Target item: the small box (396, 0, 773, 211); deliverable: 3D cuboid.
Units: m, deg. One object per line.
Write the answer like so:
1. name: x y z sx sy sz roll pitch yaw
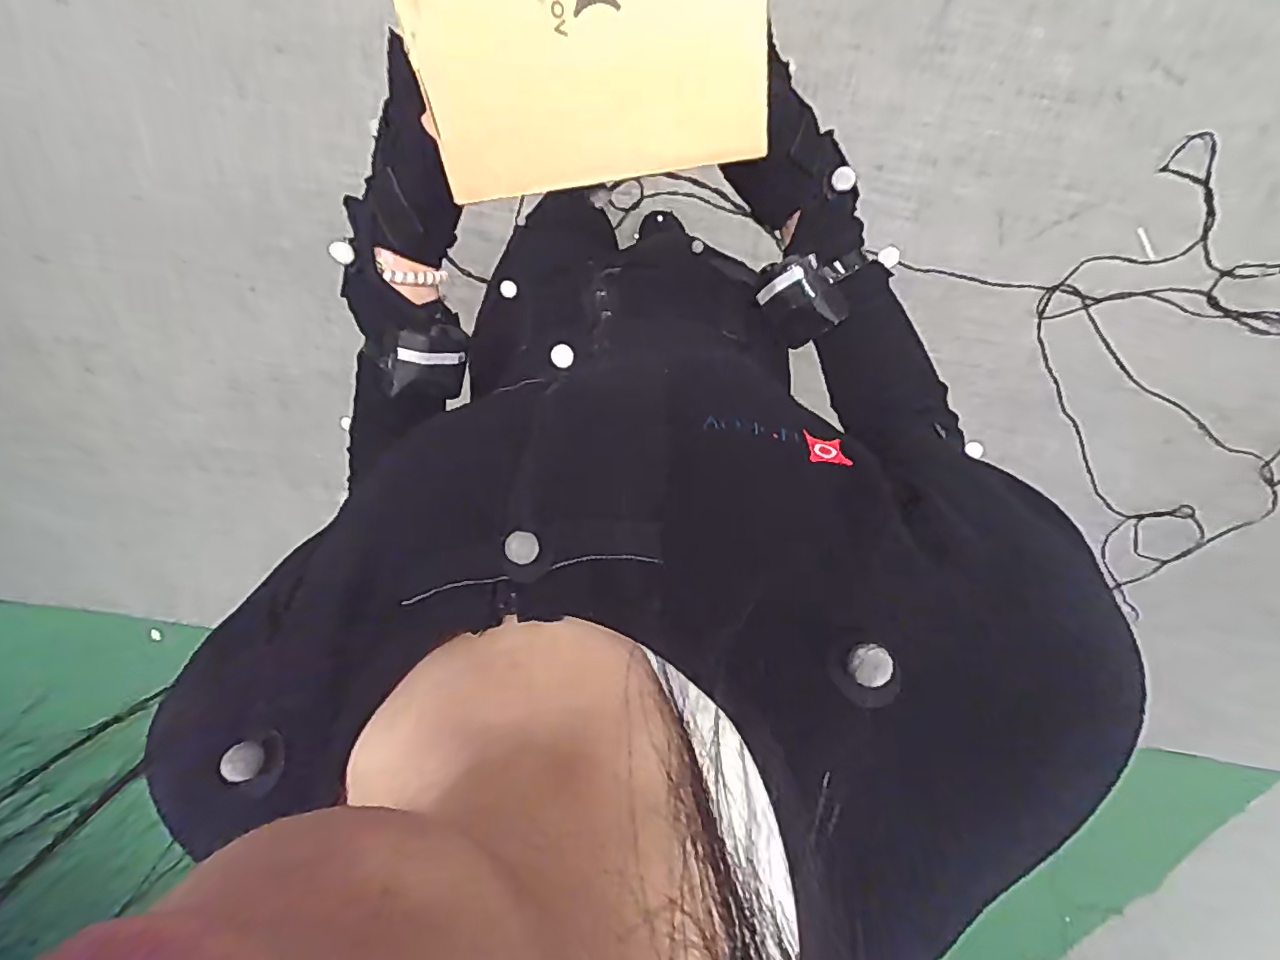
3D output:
1. small box: -0.032 -0.271 0.314 0.179 0.176 0.168 -9 125 0
